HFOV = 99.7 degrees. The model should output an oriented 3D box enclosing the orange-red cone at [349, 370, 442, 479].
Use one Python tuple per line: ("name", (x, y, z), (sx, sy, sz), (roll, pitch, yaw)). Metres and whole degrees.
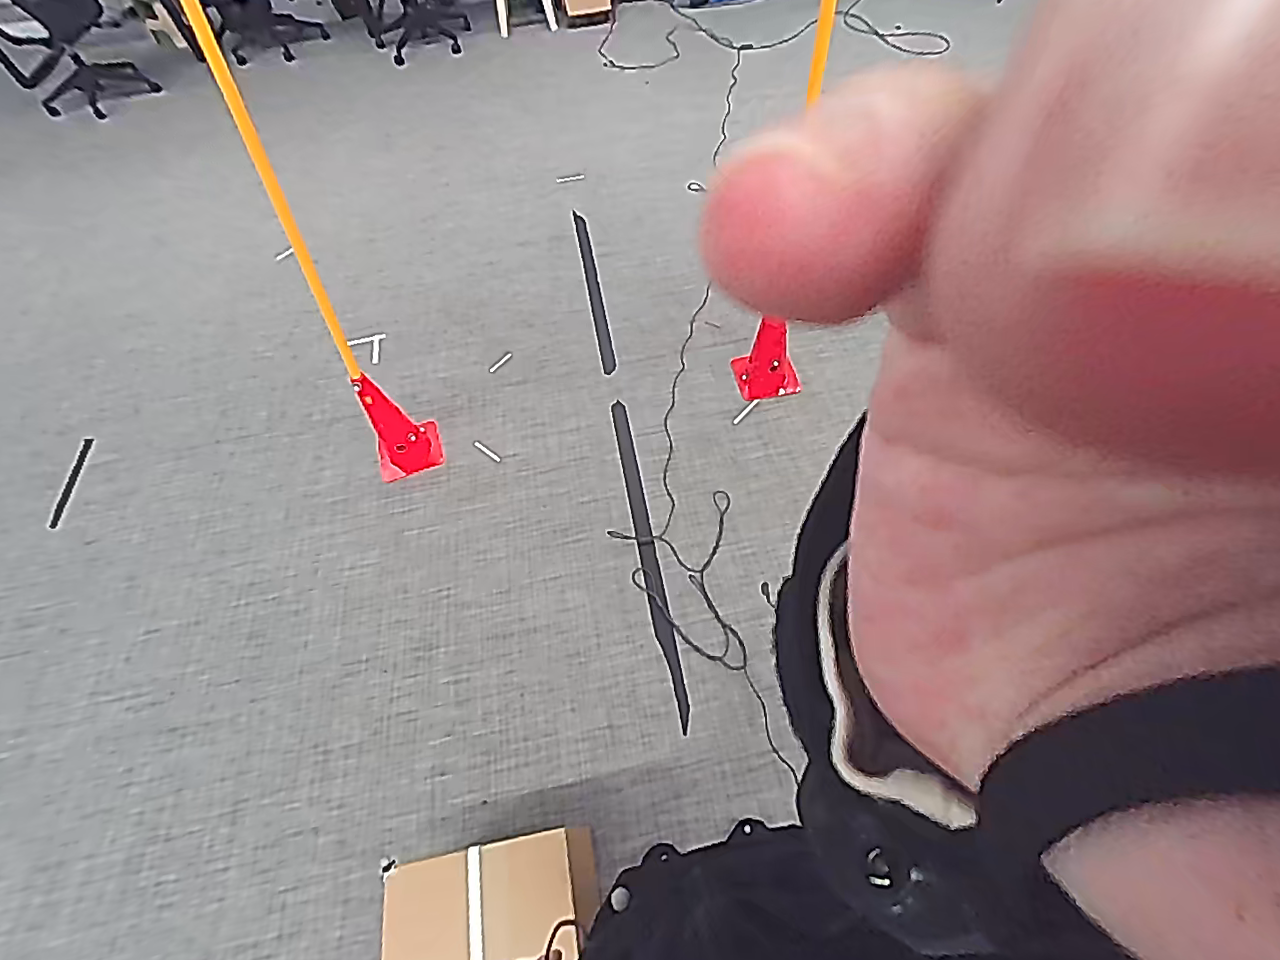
("orange-red cone", (-0.765, -0.192, 1.623), (0.199, 0.360, 0.198), (-19, 57, -6))
